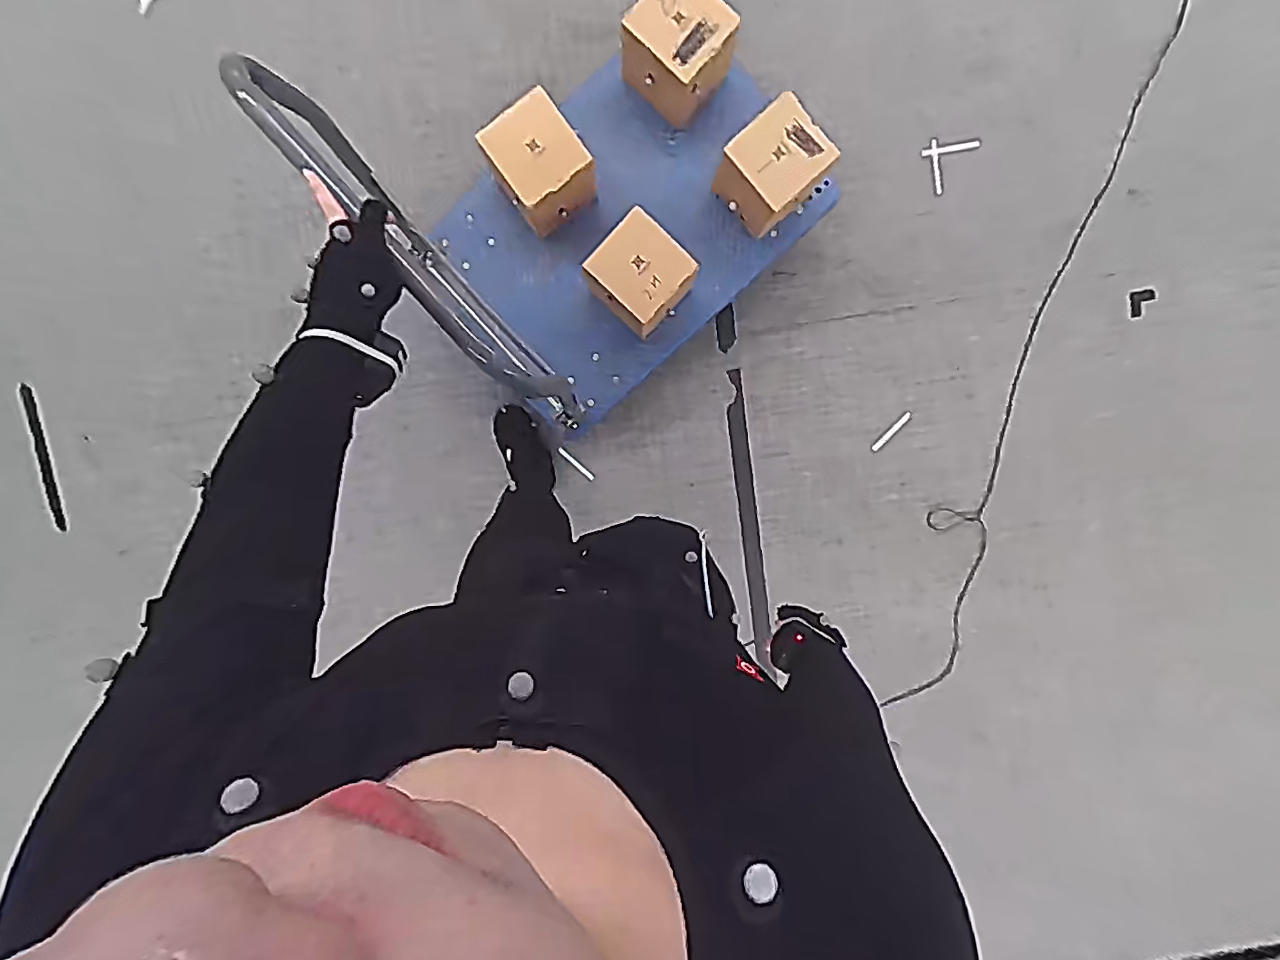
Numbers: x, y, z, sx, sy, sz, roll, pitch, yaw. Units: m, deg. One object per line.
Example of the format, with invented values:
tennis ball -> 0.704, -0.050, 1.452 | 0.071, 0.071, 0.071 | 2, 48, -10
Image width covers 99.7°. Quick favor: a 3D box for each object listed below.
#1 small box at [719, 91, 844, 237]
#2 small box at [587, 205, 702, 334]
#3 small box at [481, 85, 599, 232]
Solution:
small box -> 0.290, -0.661, 1.154 | 0.179, 0.176, 0.168 | -41, 94, 3
small box -> 0.007, -0.441, 1.166 | 0.179, 0.176, 0.168 | 44, 93, -4
small box -> -0.202, -0.666, 1.145 | 0.168, 0.176, 0.179 | -37, 96, 1
